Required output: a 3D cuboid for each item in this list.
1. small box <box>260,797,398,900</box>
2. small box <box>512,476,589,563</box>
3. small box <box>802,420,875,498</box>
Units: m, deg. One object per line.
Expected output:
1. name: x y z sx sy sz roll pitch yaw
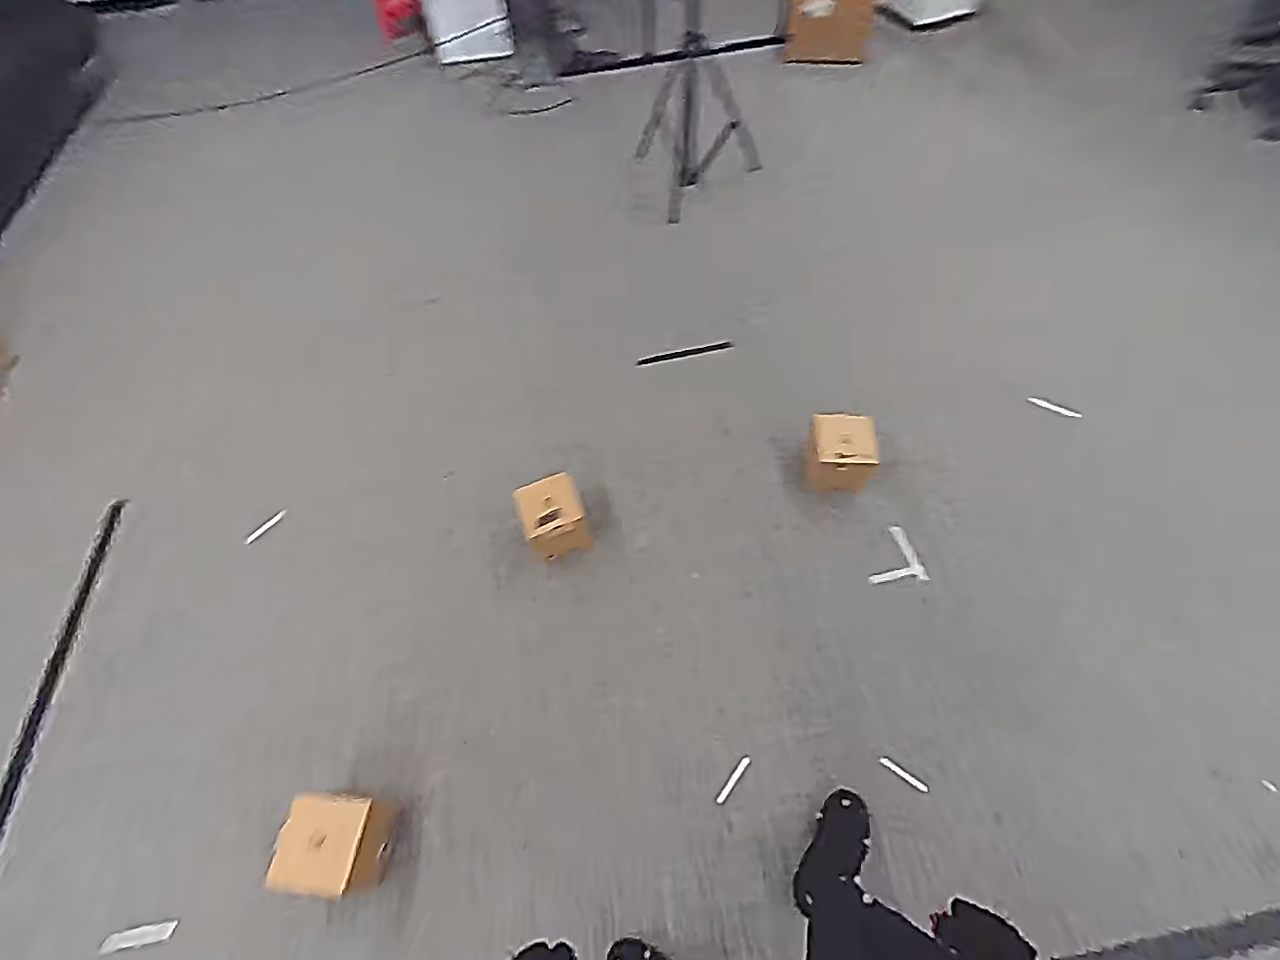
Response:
1. small box: -0.669 0.802 1.187 0.179 0.176 0.168 3 59 4
2. small box: -0.259 0.125 1.598 0.168 0.176 0.179 -21 58 -9
3. small box: 0.603 -0.065 1.663 0.168 0.176 0.179 2 57 5
